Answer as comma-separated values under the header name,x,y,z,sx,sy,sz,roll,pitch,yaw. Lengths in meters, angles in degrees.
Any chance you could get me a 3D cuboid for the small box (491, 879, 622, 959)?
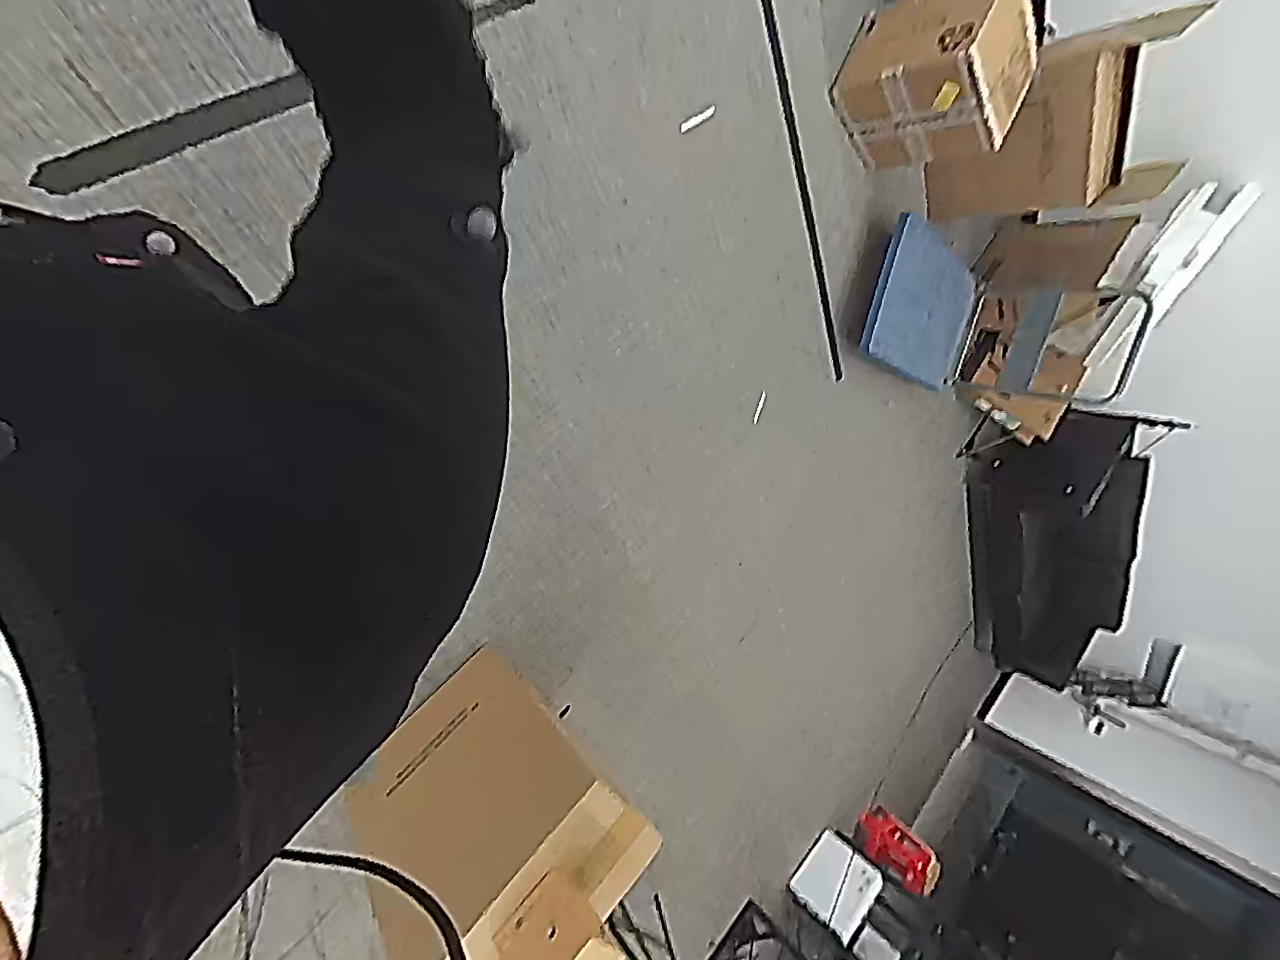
name,x,y,z,sx,sy,sz,roll,pitch,yaw
small box,-0.173,0.970,1.107,0.168,0.176,0.179,-42,128,-23
